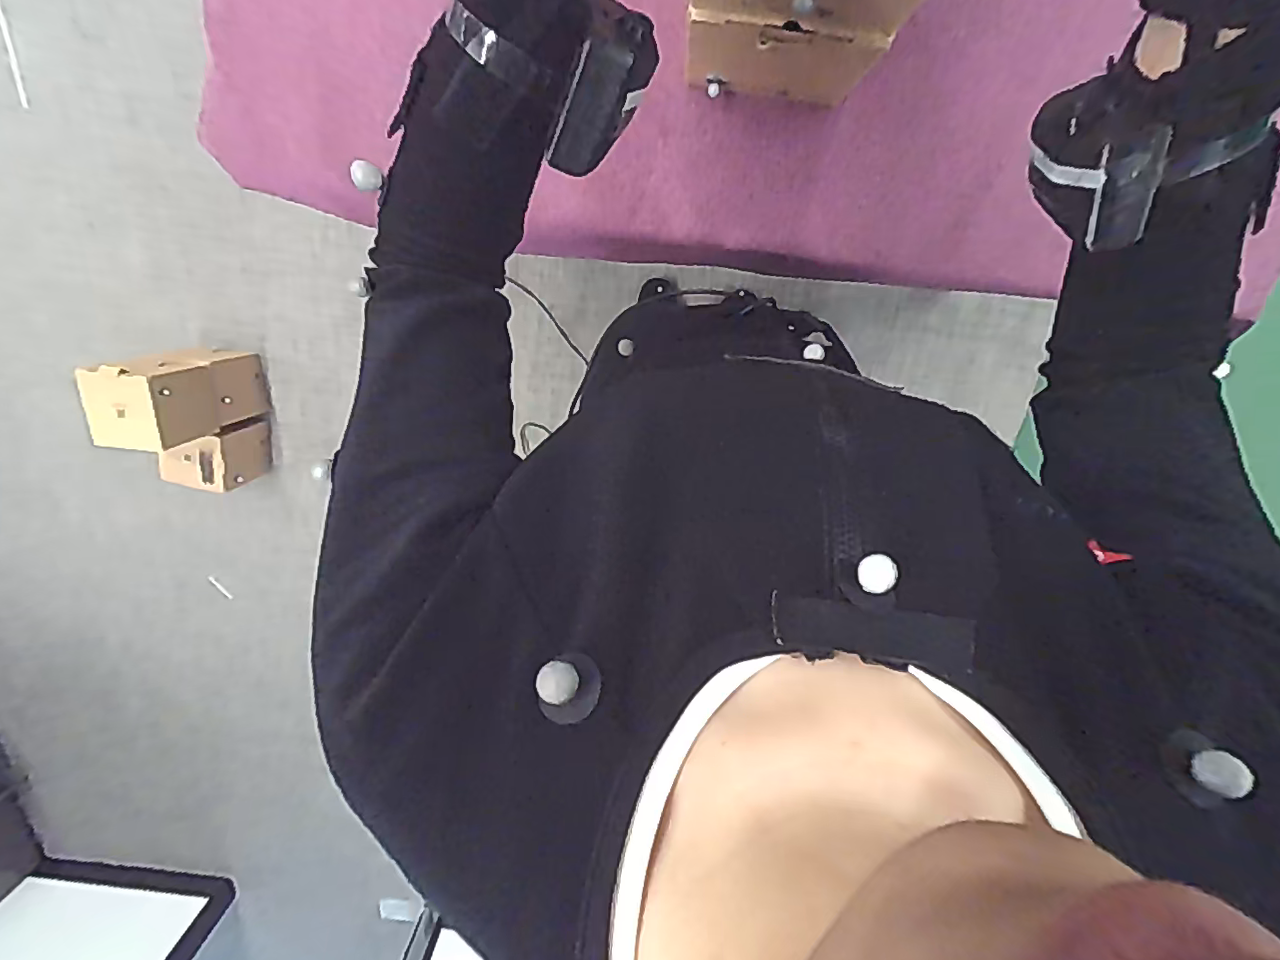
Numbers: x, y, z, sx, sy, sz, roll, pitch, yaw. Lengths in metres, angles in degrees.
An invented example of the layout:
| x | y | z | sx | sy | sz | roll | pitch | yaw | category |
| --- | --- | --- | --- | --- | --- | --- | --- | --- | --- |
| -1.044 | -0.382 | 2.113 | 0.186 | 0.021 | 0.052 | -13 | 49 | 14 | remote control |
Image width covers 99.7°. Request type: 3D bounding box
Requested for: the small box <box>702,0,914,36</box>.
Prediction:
| x | y | z | sx | sy | sz | roll | pitch | yaw | category |
| --- | --- | --- | --- | --- | --- | --- | --- | --- | --- |
| 0.125 | -0.417 | 0.326 | 0.168 | 0.176 | 0.179 | 9 | 111 | 1 | small box |

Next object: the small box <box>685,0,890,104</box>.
| x | y | z | sx | sy | sz | roll | pitch | yaw | category |
| --- | --- | --- | --- | --- | --- | --- | --- | --- | --- |
| 0.136 | -0.467 | 0.482 | 0.168 | 0.176 | 0.179 | 9 | 110 | 0 | small box |

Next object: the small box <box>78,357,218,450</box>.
| x | y | z | sx | sy | sz | roll | pitch | yaw | category |
| --- | --- | --- | --- | --- | --- | --- | --- | --- | --- |
| -1.143 | -0.185 | 1.275 | 0.168 | 0.176 | 0.179 | 6 | 110 | 1 | small box |
